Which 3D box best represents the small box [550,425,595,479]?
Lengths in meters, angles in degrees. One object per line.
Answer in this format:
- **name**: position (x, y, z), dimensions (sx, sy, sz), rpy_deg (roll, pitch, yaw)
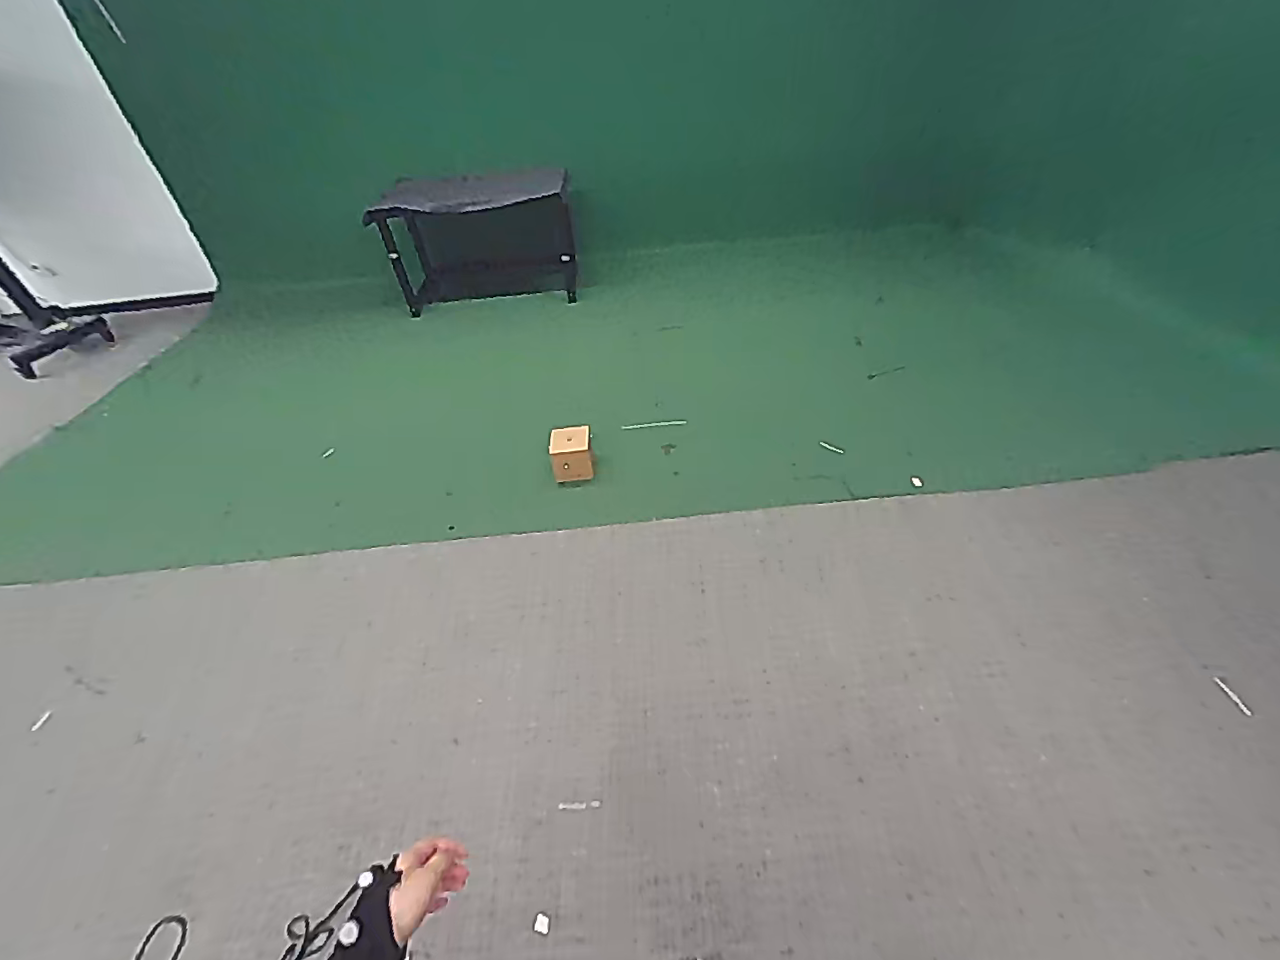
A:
- **small box**: position (-0.291, -0.116, 2.354), dimensions (0.168, 0.176, 0.179), rpy_deg (-7, 40, 1)
